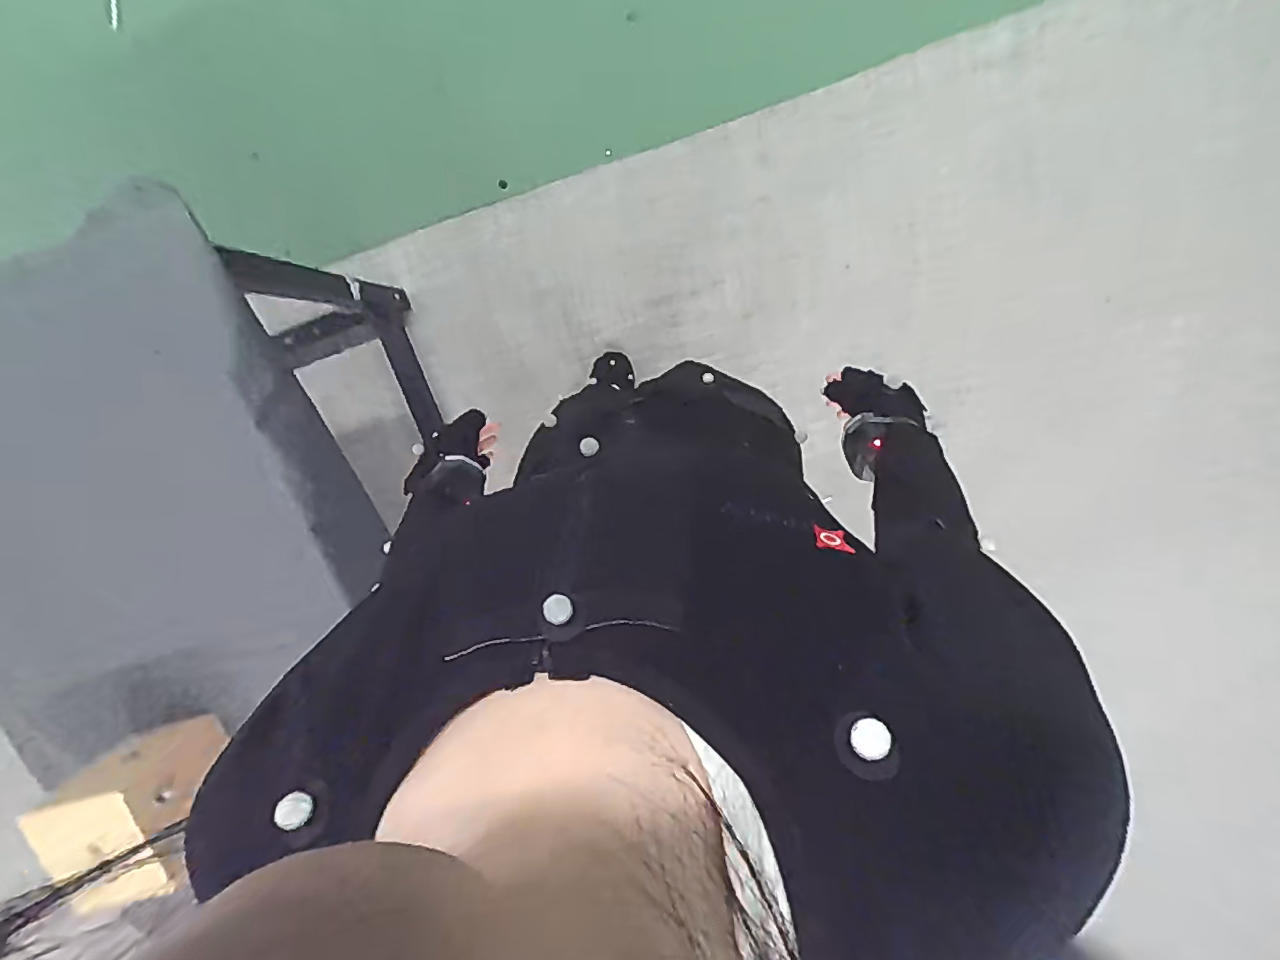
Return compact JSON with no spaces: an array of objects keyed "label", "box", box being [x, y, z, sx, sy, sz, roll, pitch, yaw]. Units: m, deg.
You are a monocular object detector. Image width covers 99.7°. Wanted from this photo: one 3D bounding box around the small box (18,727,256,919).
[{"label":"small box","box":[-0.747,0.506,0.826,0.168,0.176,0.179,-16,102,5]}]
